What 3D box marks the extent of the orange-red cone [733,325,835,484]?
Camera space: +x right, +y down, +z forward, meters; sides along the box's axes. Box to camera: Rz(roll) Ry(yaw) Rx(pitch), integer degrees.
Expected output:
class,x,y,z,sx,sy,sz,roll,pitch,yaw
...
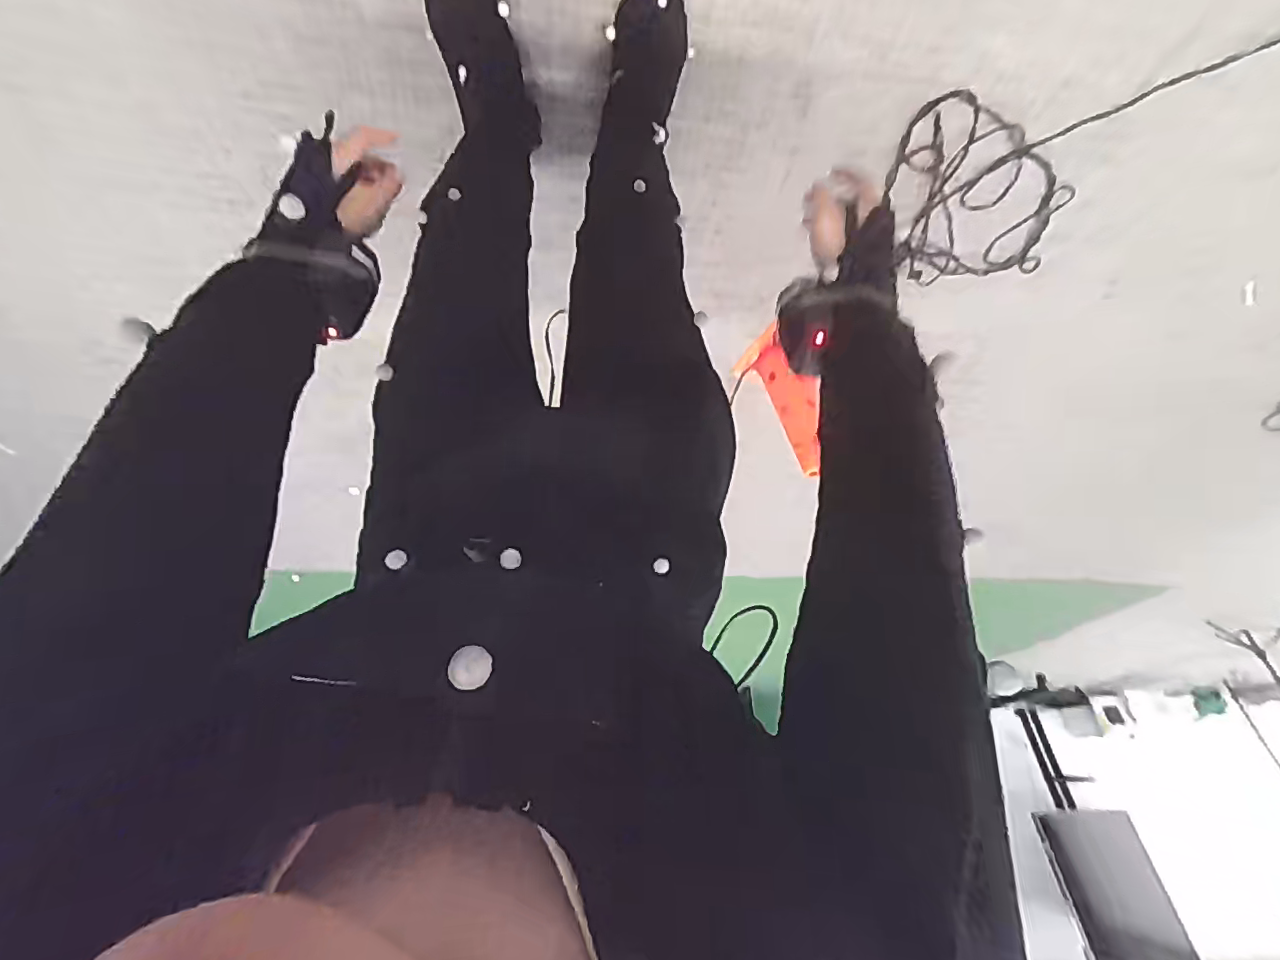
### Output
class,x,y,z,sx,sy,sz,roll,pitch,yaw
orange-red cone,0.363,-0.149,1.249,0.199,0.360,0.198,13,144,-24
